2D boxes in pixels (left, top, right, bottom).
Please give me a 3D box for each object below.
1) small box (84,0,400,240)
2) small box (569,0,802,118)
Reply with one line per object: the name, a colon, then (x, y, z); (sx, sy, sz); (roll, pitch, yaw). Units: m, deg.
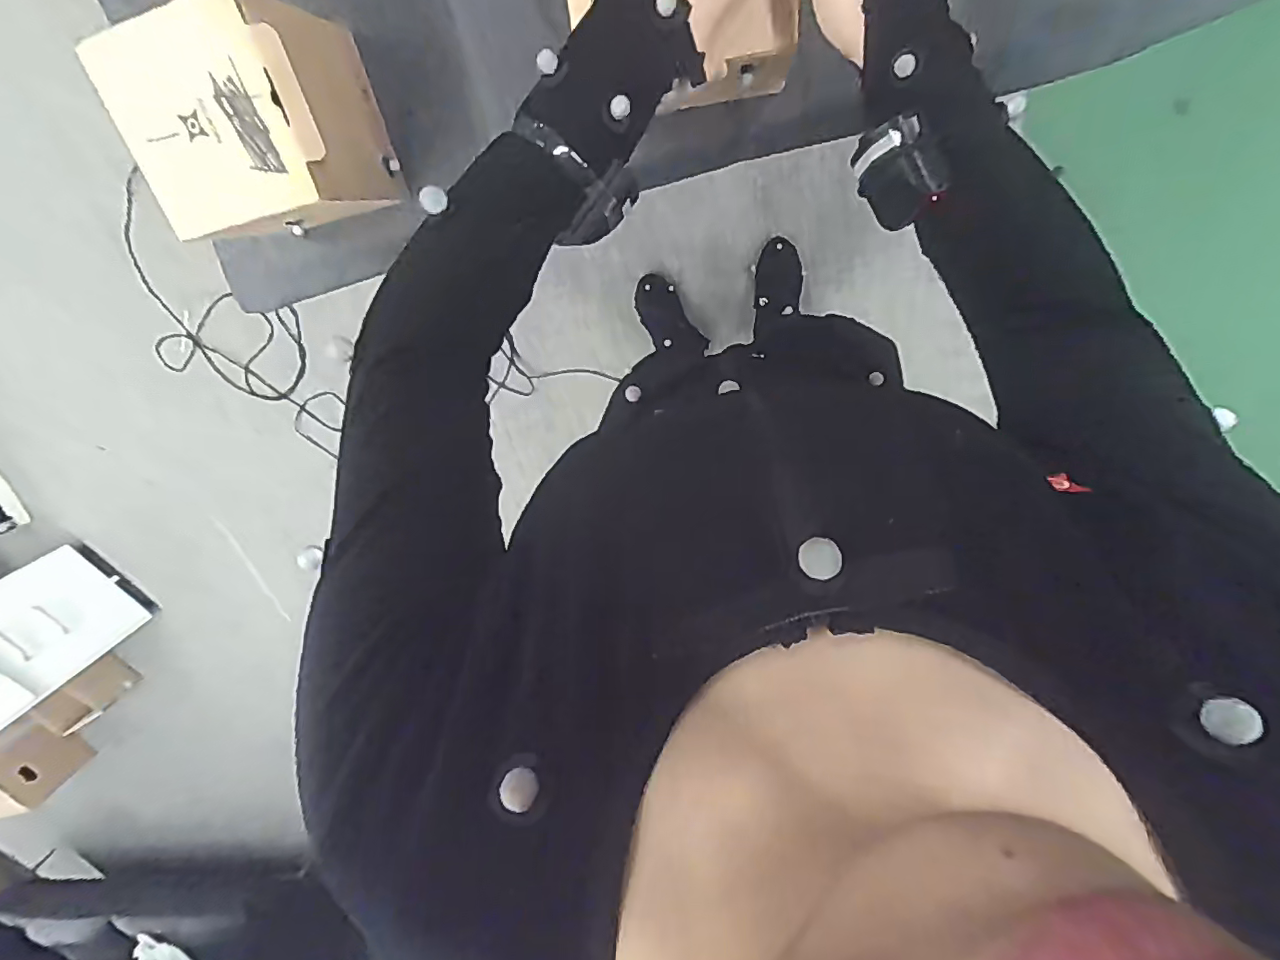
small box: (-0.382, -0.361, 0.563); (0.179, 0.176, 0.168); (-7, 116, 13)
small box: (0.040, -0.428, 0.460); (0.179, 0.176, 0.168); (-3, 116, 11)
